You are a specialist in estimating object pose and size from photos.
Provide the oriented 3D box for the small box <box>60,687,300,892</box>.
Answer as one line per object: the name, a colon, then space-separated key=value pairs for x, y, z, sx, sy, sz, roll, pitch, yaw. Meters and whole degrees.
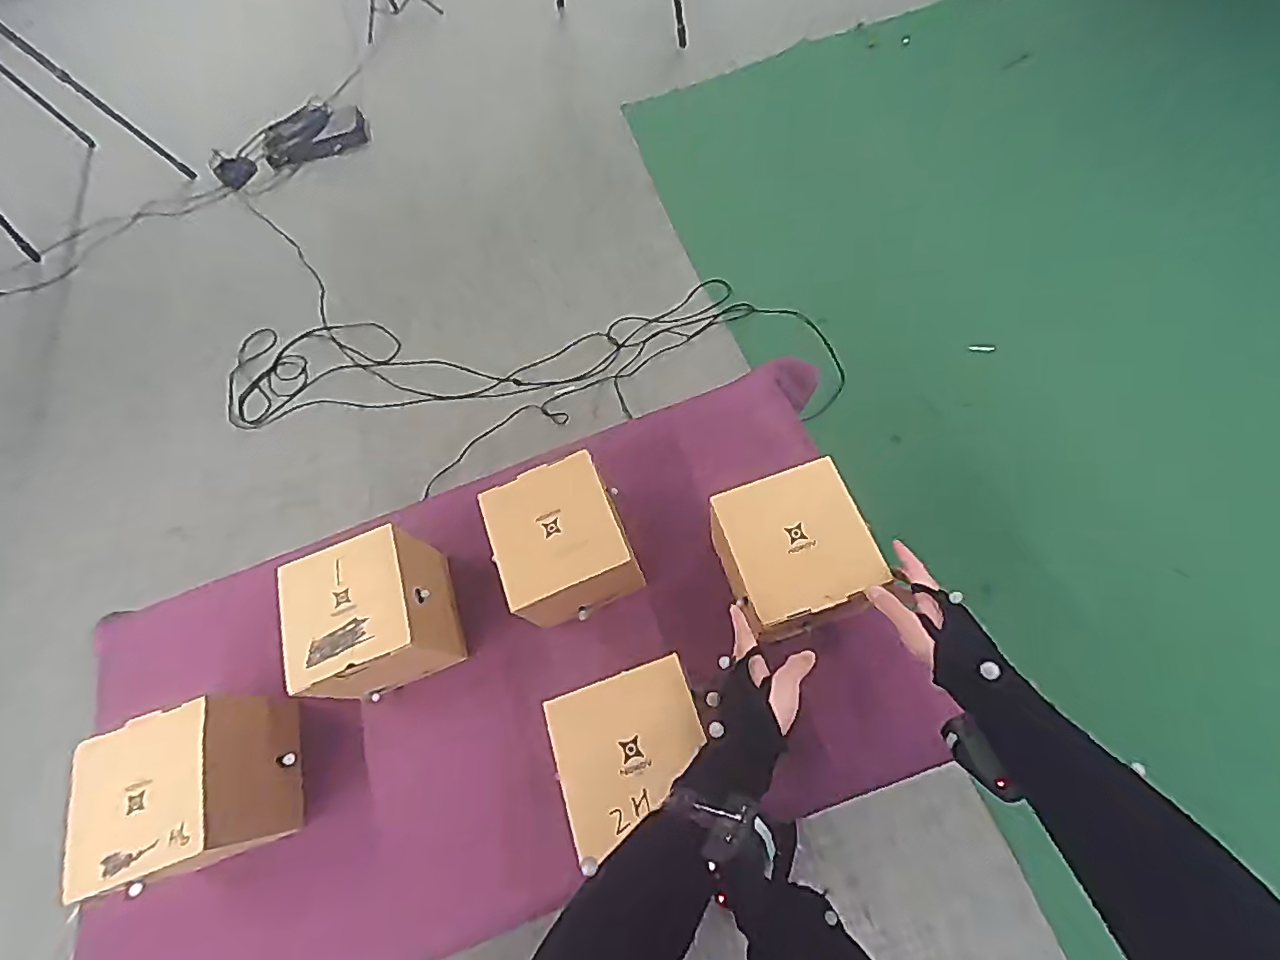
small box: x=-0.578 y=0.391 z=0.706 sx=0.168 sy=0.176 sz=0.179 roll=-21 pitch=64 yaw=0

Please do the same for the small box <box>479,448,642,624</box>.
small box: x=-0.108 y=0.088 z=0.781 sx=0.168 sy=0.176 sz=0.179 roll=-22 pitch=65 yaw=-1

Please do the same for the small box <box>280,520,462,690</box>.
small box: x=-0.375 y=0.187 z=0.772 sx=0.168 sy=0.176 sz=0.179 roll=-21 pitch=64 yaw=-2

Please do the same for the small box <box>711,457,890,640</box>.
small box: x=0.200 y=0.100 z=0.733 sx=0.168 sy=0.176 sz=0.179 roll=-19 pitch=65 yaw=0

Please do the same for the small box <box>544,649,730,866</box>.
small box: x=0.000 y=0.328 z=0.655 sx=0.168 sy=0.176 sz=0.179 roll=-20 pitch=64 yaw=0
